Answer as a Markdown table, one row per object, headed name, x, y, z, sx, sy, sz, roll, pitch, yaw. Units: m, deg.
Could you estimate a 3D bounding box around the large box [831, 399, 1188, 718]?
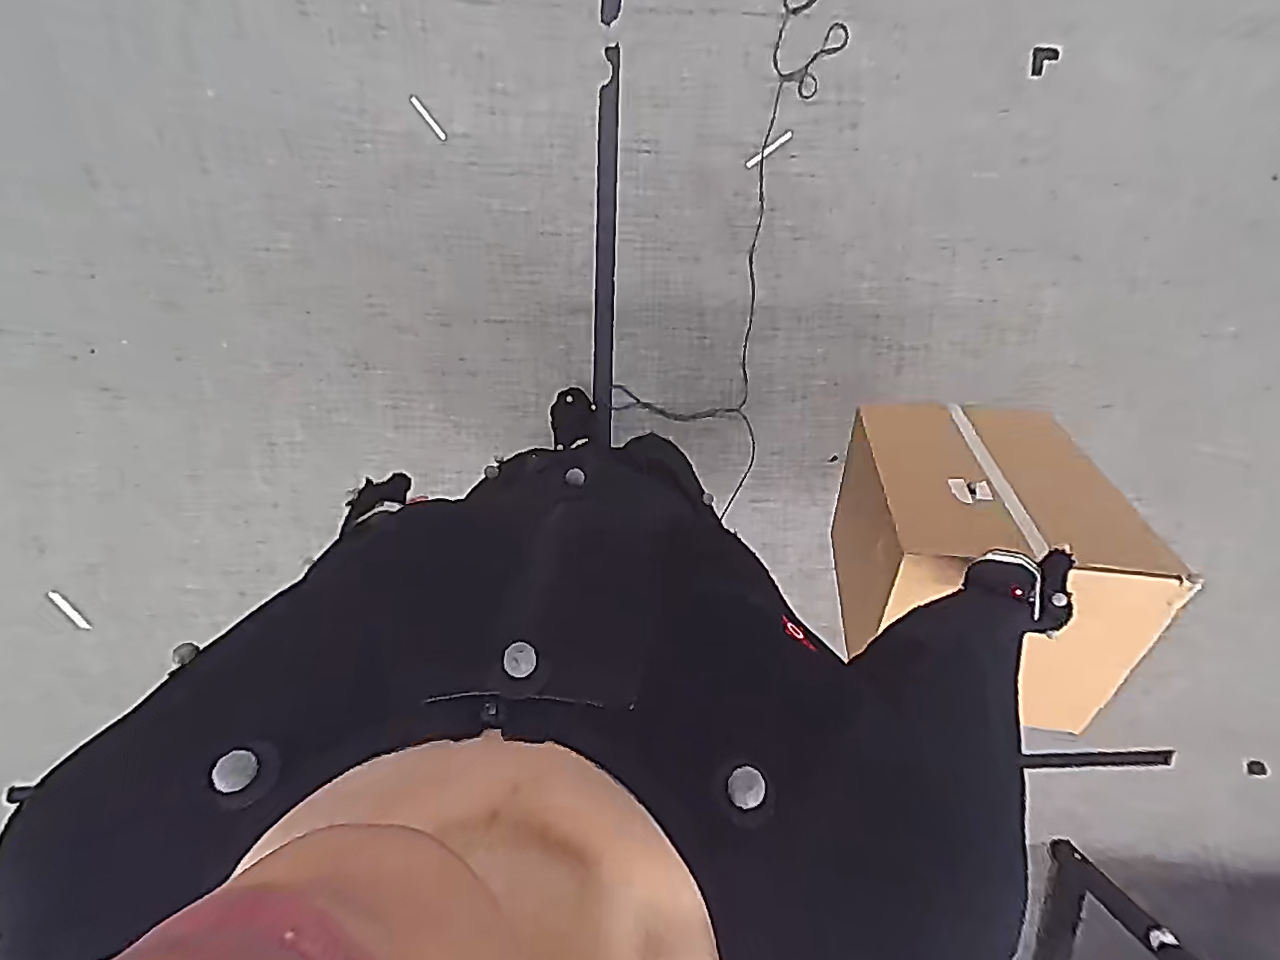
| name | x | y | z | sx | sy | sz | roll | pitch | yaw |
| --- | --- | --- | --- | --- | --- | --- | --- | --- | --- |
| large box | 0.519 | 0.106 | 0.889 | 0.320 | 0.408 | 0.320 | 5 | 128 | 10 |
